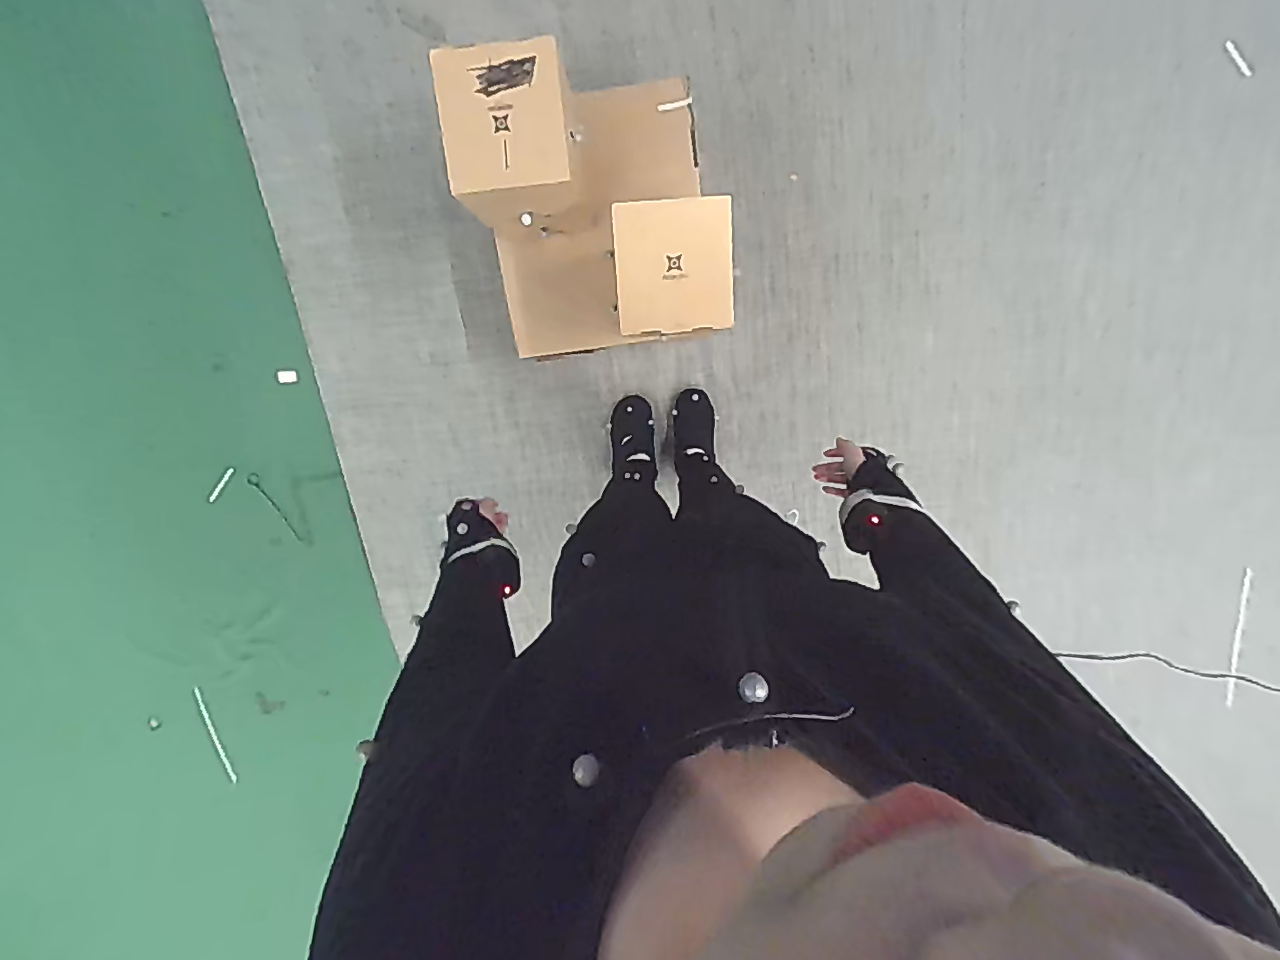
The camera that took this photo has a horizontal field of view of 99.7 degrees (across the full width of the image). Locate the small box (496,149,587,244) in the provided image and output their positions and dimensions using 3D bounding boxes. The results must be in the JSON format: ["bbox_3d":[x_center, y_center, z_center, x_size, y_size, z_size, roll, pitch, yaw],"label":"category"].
[{"bbox_3d":[-0.192,-0.535,0.950,0.168,0.176,0.179,-8,101,2],"label":"small box"}]

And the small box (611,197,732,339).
[{"bbox_3d":[0.043,-0.314,0.833,0.168,0.176,0.179,-5,104,0],"label":"small box"}]

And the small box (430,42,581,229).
[{"bbox_3d":[-0.184,-0.488,0.791,0.168,0.176,0.179,-5,102,2],"label":"small box"}]
